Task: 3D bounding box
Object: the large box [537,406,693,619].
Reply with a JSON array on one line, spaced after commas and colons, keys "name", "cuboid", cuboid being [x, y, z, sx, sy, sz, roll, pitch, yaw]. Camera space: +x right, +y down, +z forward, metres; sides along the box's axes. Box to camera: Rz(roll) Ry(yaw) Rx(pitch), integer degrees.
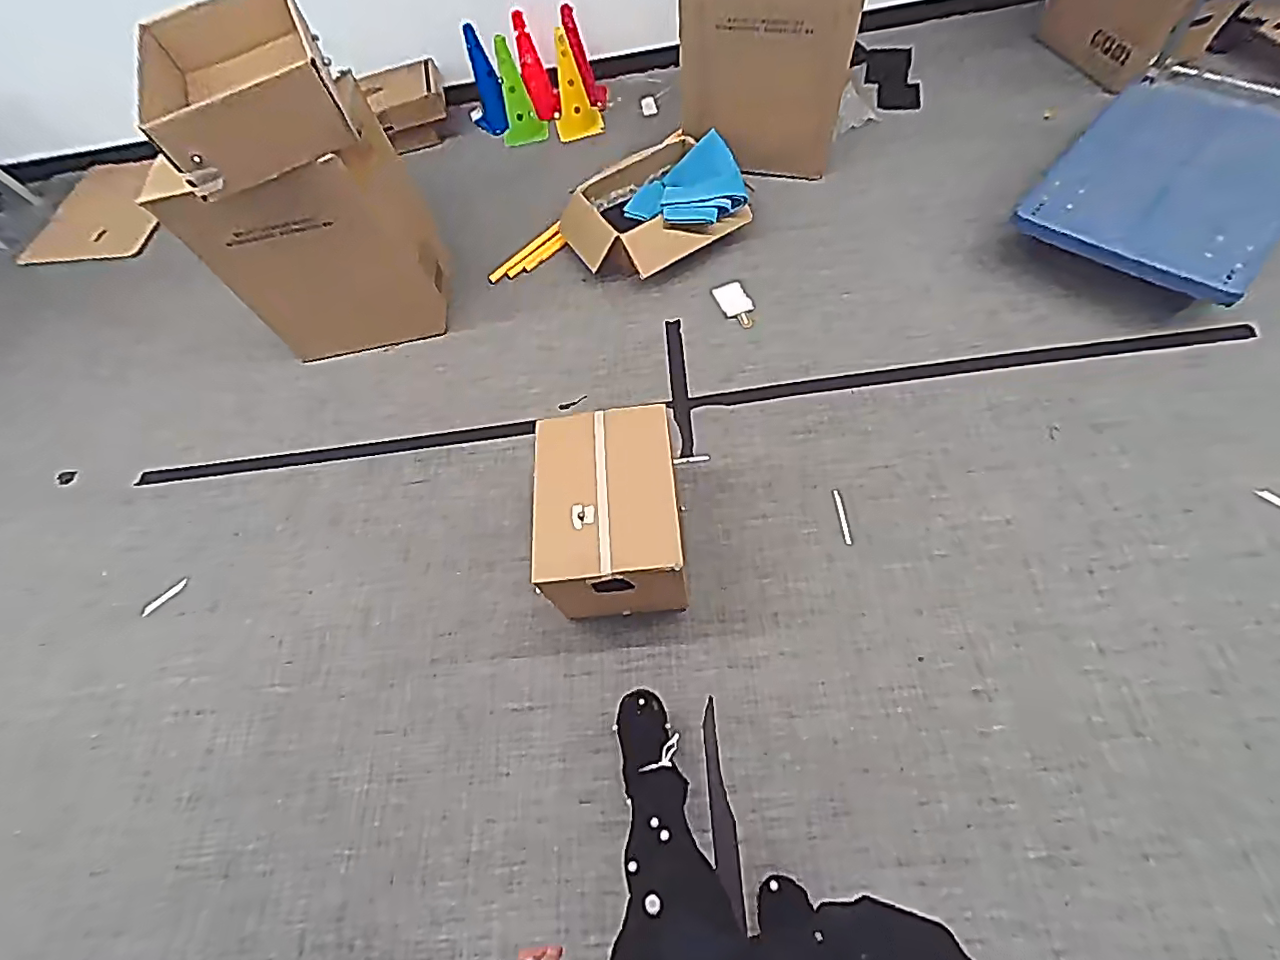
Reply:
[{"name": "large box", "cuboid": [-0.054, 0.088, 1.303, 0.320, 0.320, 0.408, -8, 62, 5]}]
